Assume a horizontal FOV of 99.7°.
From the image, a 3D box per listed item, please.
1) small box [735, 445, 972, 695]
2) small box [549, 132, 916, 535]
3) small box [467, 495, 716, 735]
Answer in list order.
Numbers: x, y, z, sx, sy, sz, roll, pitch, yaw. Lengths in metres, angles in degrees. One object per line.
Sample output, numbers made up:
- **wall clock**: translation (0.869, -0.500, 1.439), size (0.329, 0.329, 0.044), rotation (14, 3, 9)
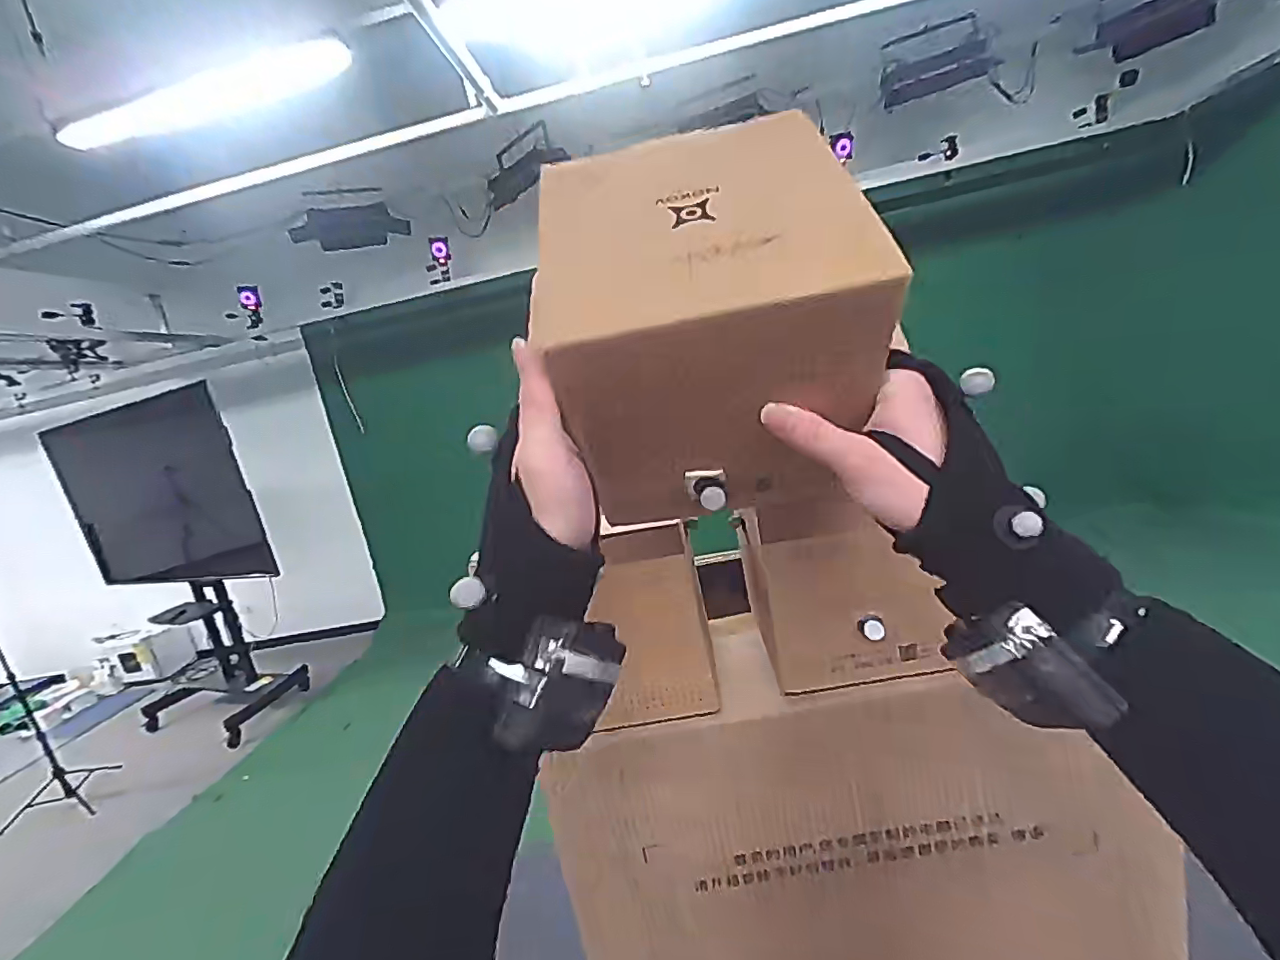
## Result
- **small box**: translation (0.182, 0.073, 0.509), size (0.168, 0.176, 0.179), rotation (-10, 13, 4)
- **small box**: translation (0.043, -0.088, 0.352), size (0.168, 0.176, 0.179), rotation (-10, 53, 3)
- **small box**: translation (-0.034, 0.116, 0.516), size (0.179, 0.176, 0.168), rotation (-11, 12, 5)
